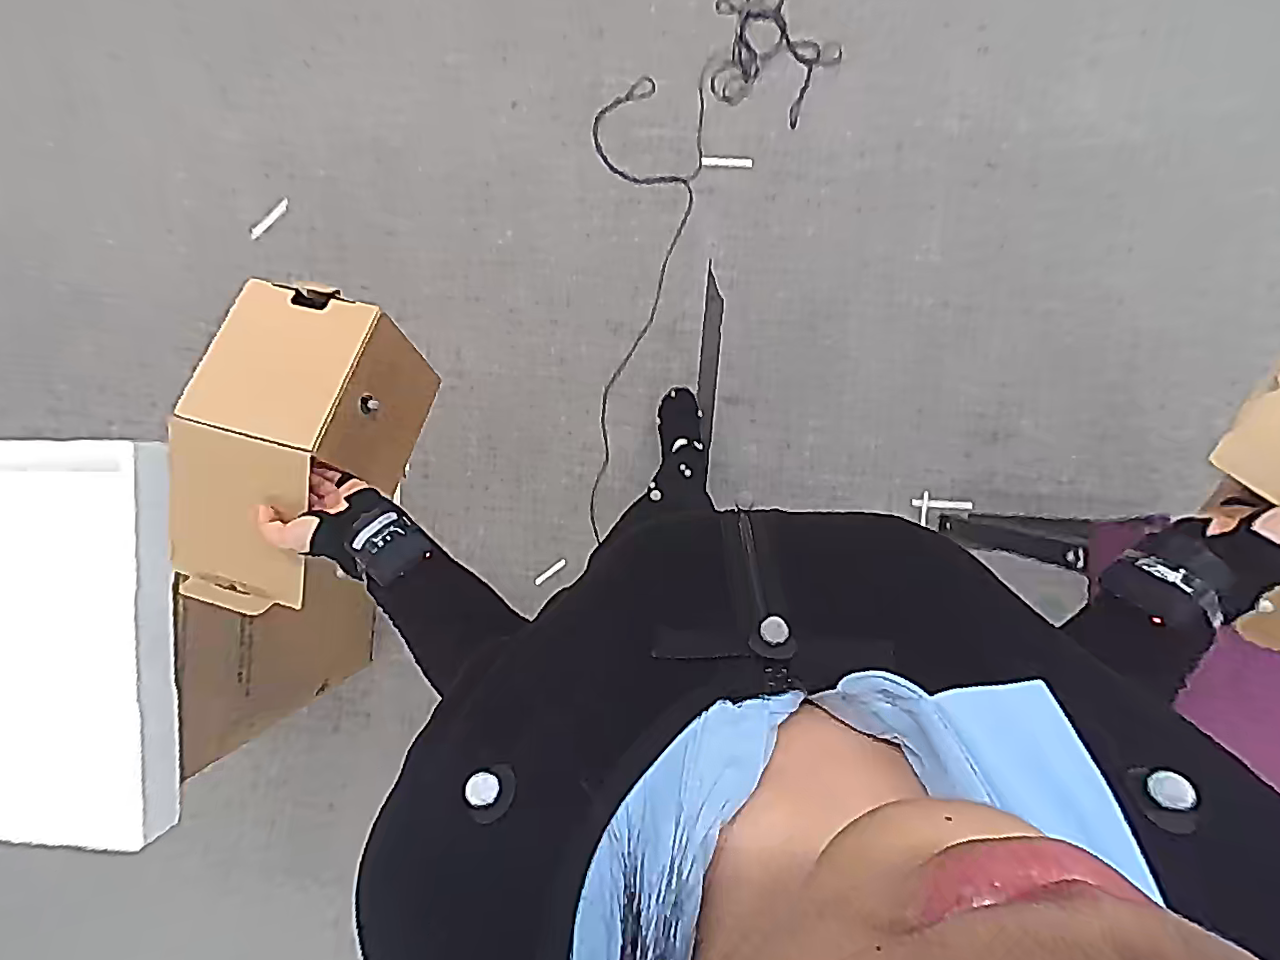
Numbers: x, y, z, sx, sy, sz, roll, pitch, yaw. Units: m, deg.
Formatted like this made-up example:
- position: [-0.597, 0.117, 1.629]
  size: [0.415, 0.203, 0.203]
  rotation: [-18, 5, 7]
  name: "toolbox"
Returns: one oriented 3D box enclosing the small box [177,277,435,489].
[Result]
- position: [-0.374, -0.104, 0.645]
  size: [0.168, 0.176, 0.179]
  rotation: [14, 73, 7]
  name: "small box"
